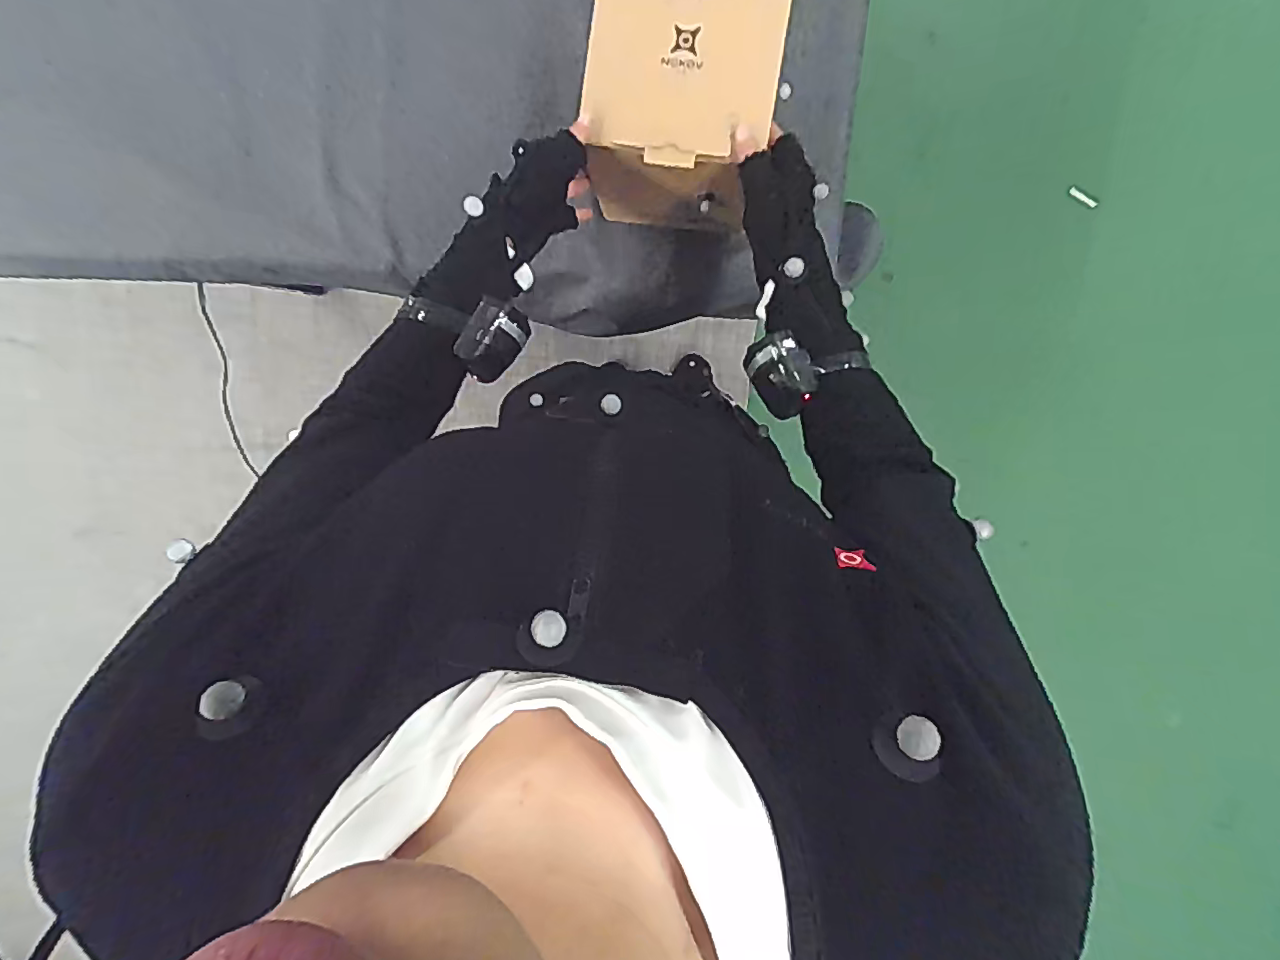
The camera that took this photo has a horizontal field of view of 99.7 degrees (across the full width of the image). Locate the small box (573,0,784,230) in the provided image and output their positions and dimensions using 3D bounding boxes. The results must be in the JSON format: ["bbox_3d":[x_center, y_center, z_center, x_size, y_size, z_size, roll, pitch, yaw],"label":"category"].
[{"bbox_3d":[0.040,-0.369,0.534,0.168,0.176,0.179,8,94,4],"label":"small box"}]
